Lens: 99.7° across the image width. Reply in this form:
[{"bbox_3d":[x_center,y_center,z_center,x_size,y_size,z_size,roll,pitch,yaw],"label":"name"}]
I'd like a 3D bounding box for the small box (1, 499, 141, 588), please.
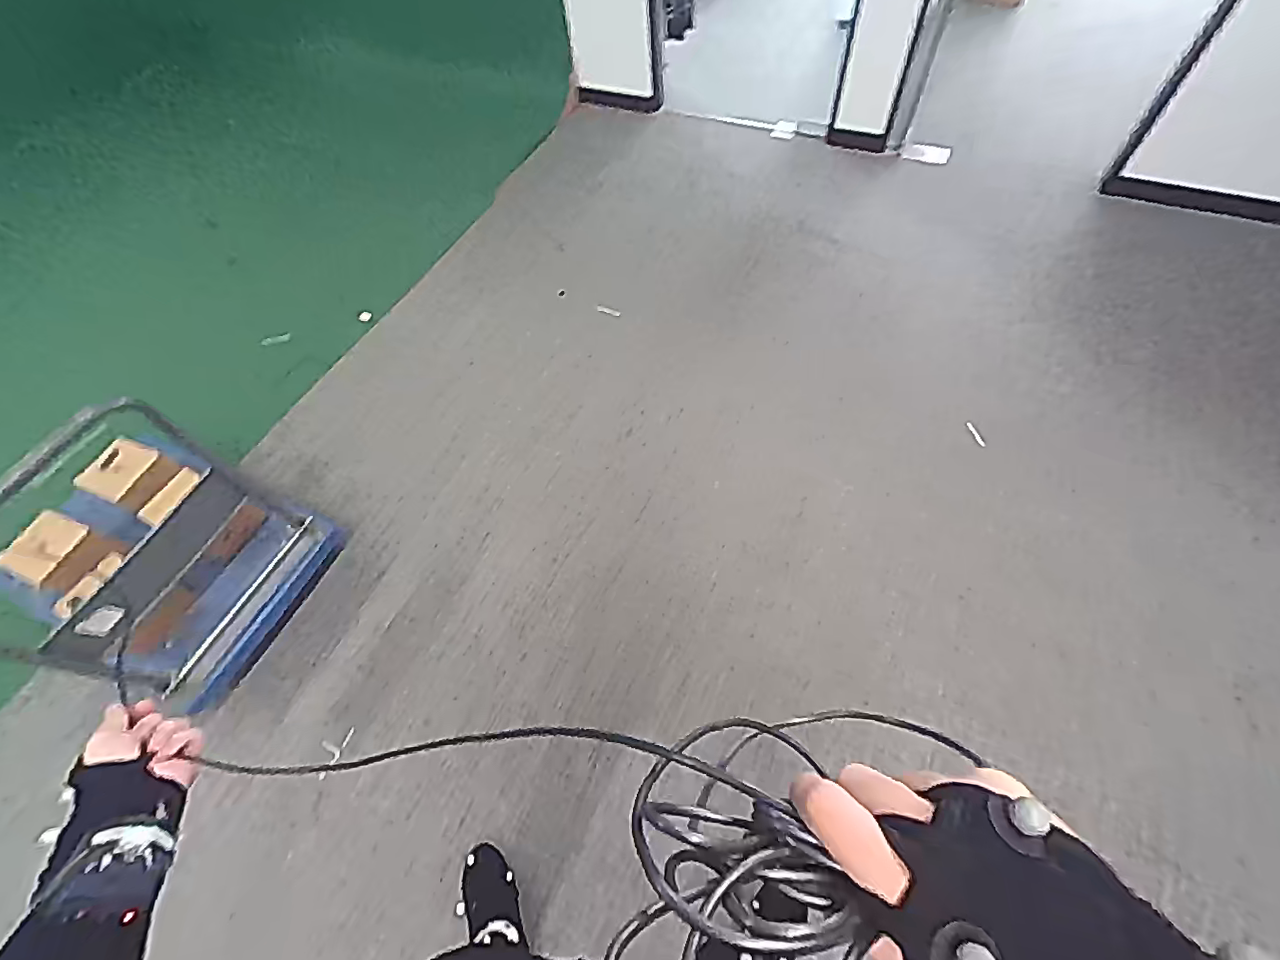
[{"bbox_3d":[-1.567,0.182,1.504,0.179,0.176,0.168,19,63,14],"label":"small box"}]

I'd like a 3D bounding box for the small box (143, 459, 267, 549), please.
[{"bbox_3d":[-1.231,0.075,1.541,0.179,0.176,0.168,23,65,15],"label":"small box"}]

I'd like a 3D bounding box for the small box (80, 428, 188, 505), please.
[{"bbox_3d":[-1.472,-0.024,1.613,0.179,0.176,0.168,19,64,13],"label":"small box"}]
